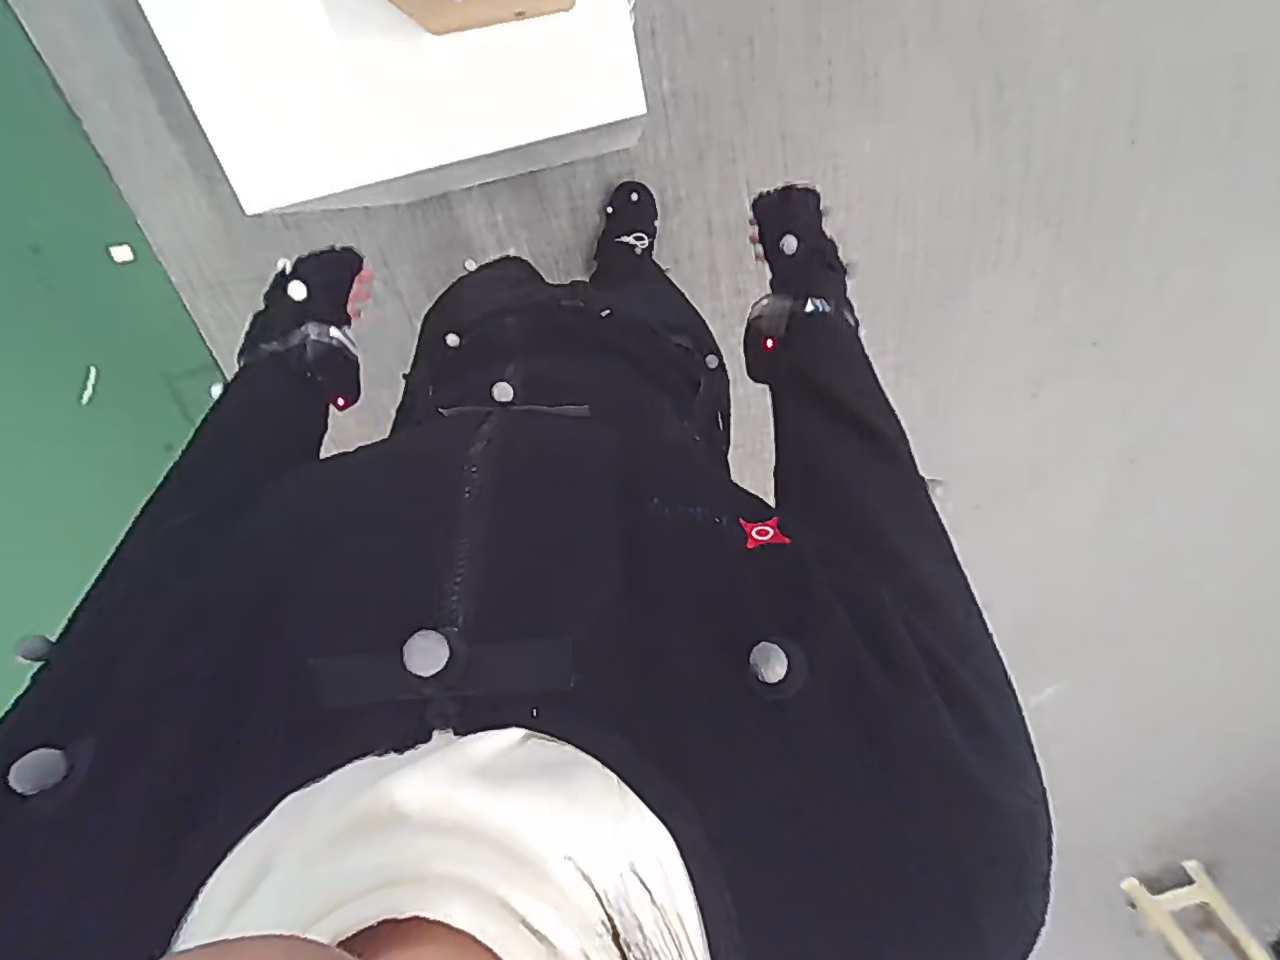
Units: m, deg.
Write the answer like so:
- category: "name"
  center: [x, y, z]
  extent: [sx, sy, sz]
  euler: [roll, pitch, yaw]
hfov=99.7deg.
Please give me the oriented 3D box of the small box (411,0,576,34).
- category: "small box"
  center: [-0.156, -0.539, 0.480]
  extent: [0.168, 0.176, 0.179]
  euler: [-7, 118, 3]
